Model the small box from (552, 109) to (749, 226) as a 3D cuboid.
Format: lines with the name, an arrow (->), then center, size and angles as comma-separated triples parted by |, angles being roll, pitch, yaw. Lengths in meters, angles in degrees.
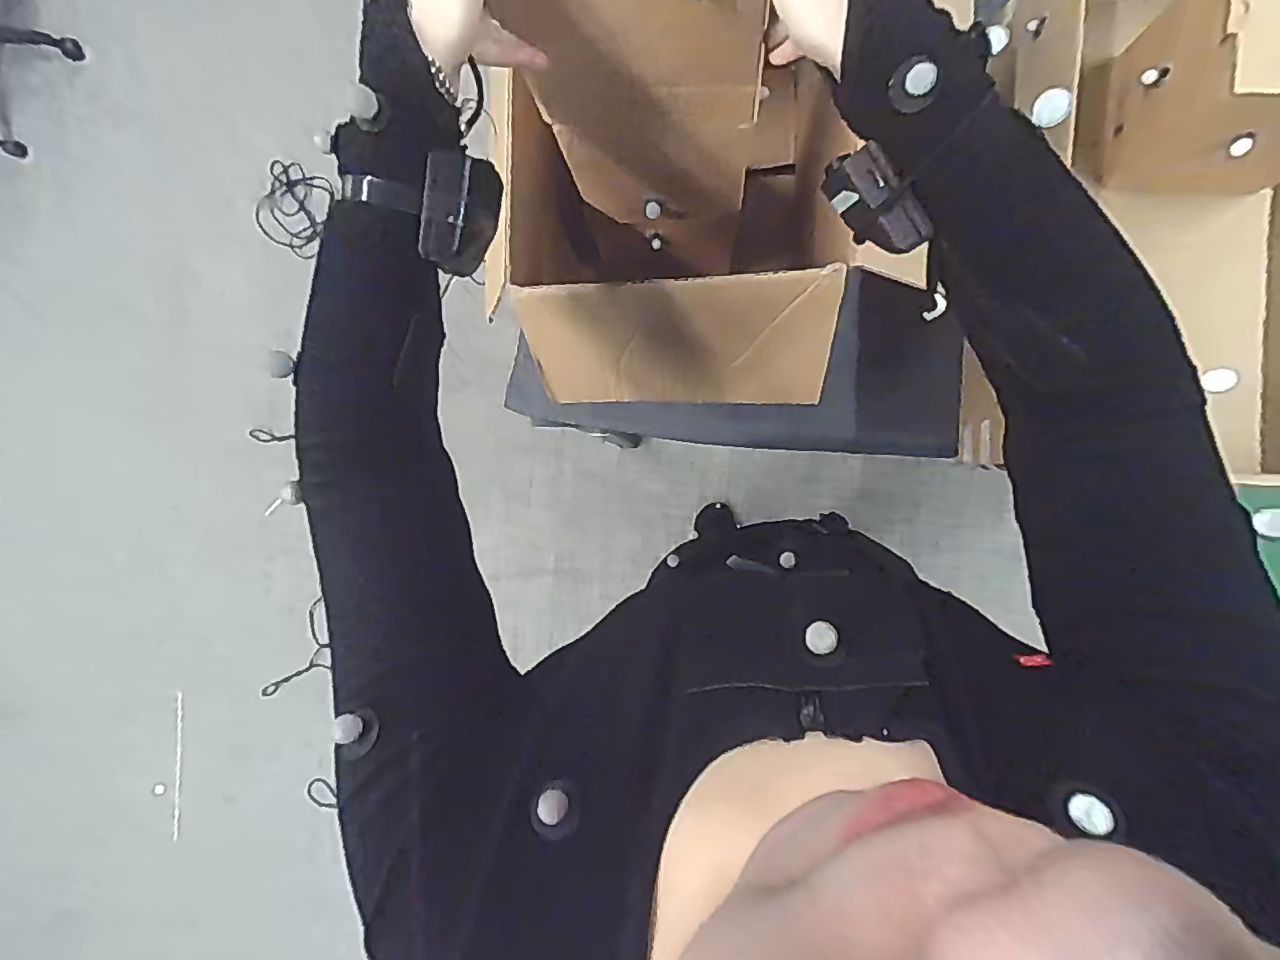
small box -> 0.023, -0.374, 0.525 | 0.168, 0.176, 0.179 | 5, 92, 7

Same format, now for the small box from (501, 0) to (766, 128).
small box -> 0.001, -0.371, 0.365 | 0.179, 0.176, 0.168 | 6, 91, 7
